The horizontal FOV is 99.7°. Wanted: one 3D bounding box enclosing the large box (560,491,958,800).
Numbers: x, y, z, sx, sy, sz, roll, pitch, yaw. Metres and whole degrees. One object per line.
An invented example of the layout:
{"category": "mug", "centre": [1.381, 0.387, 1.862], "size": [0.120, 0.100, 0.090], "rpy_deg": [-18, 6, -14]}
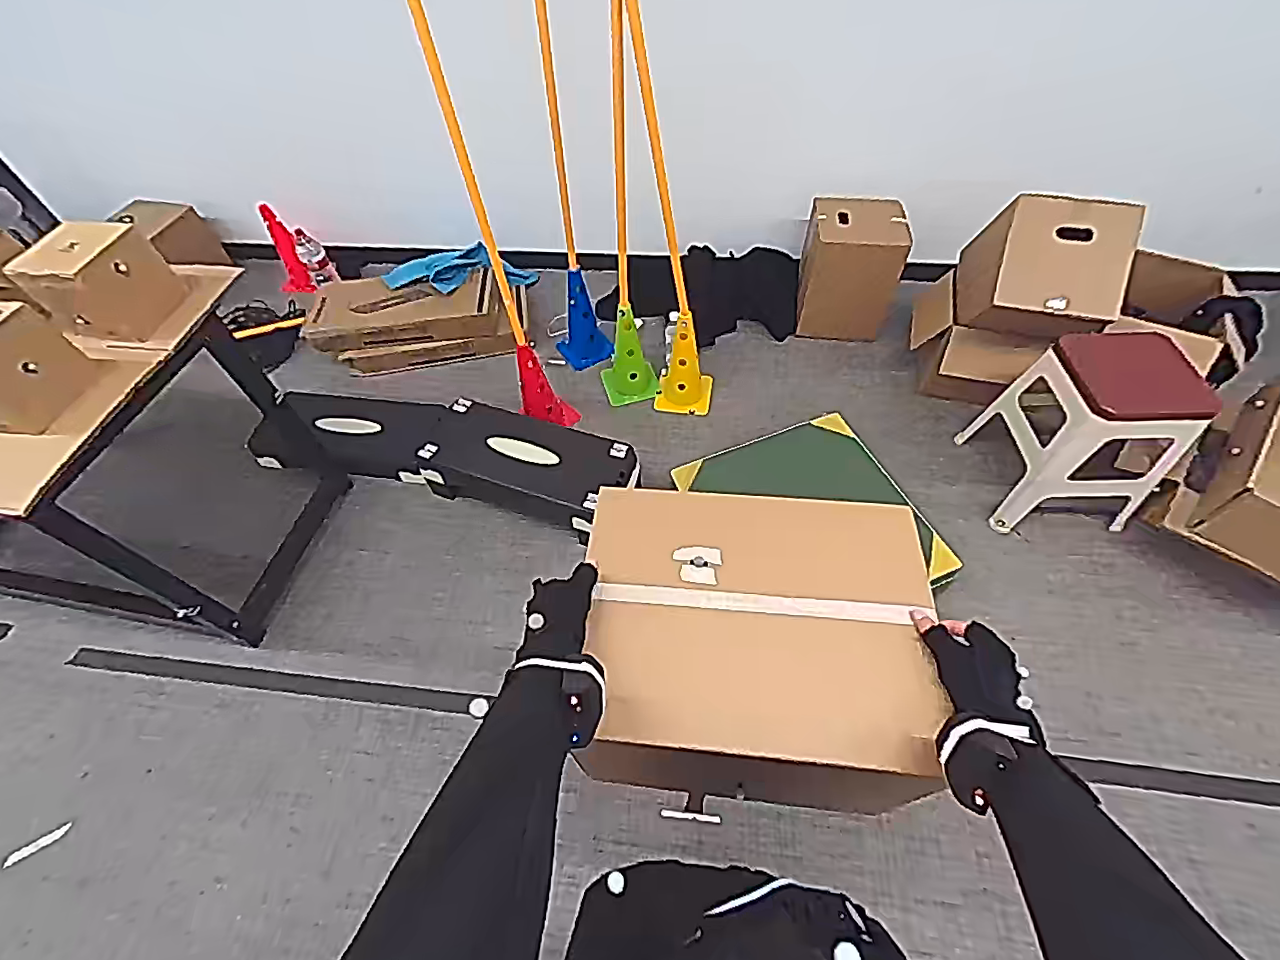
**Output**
{"category": "large box", "centre": [0.139, 0.234, 0.748], "size": [0.408, 0.320, 0.320], "rpy_deg": [3, 53, 7]}
